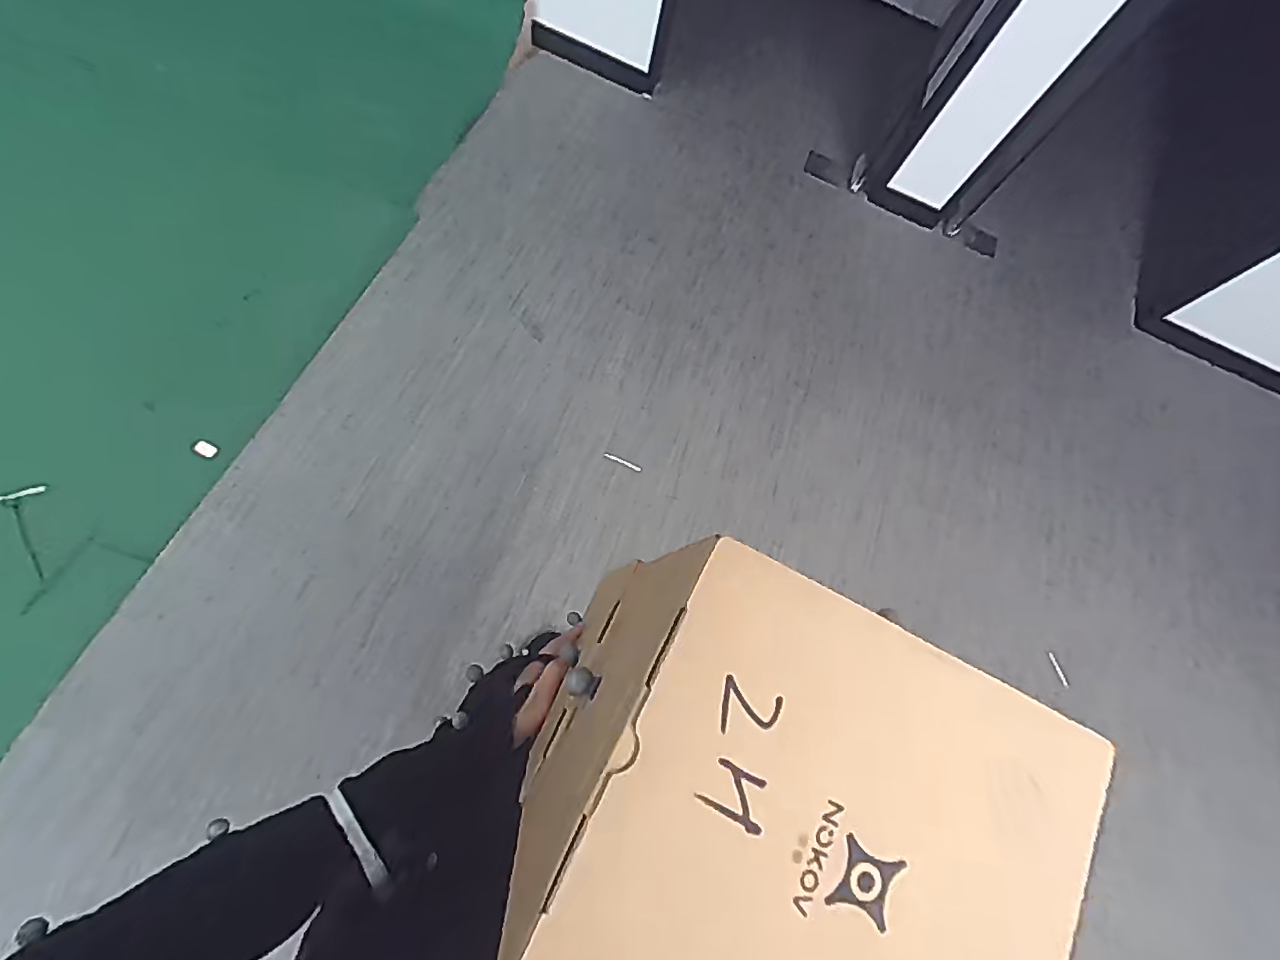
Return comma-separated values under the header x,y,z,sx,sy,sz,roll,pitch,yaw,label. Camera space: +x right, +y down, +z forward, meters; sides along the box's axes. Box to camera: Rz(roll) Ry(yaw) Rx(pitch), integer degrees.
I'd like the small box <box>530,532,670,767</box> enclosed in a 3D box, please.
x,y,z,sx,sy,sz,roll,pitch,yaw,label
0.033,0.162,0.429,0.179,0.176,0.168,28,76,-1,small box

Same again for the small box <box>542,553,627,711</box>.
x,y,z,sx,sy,sz,roll,pitch,yaw,label
0.012,0.193,0.589,0.179,0.176,0.168,26,75,-1,small box

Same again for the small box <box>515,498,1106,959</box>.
x,y,z,sx,sy,sz,roll,pitch,yaw,label
0.061,0.131,0.269,0.179,0.176,0.168,29,74,-1,small box
